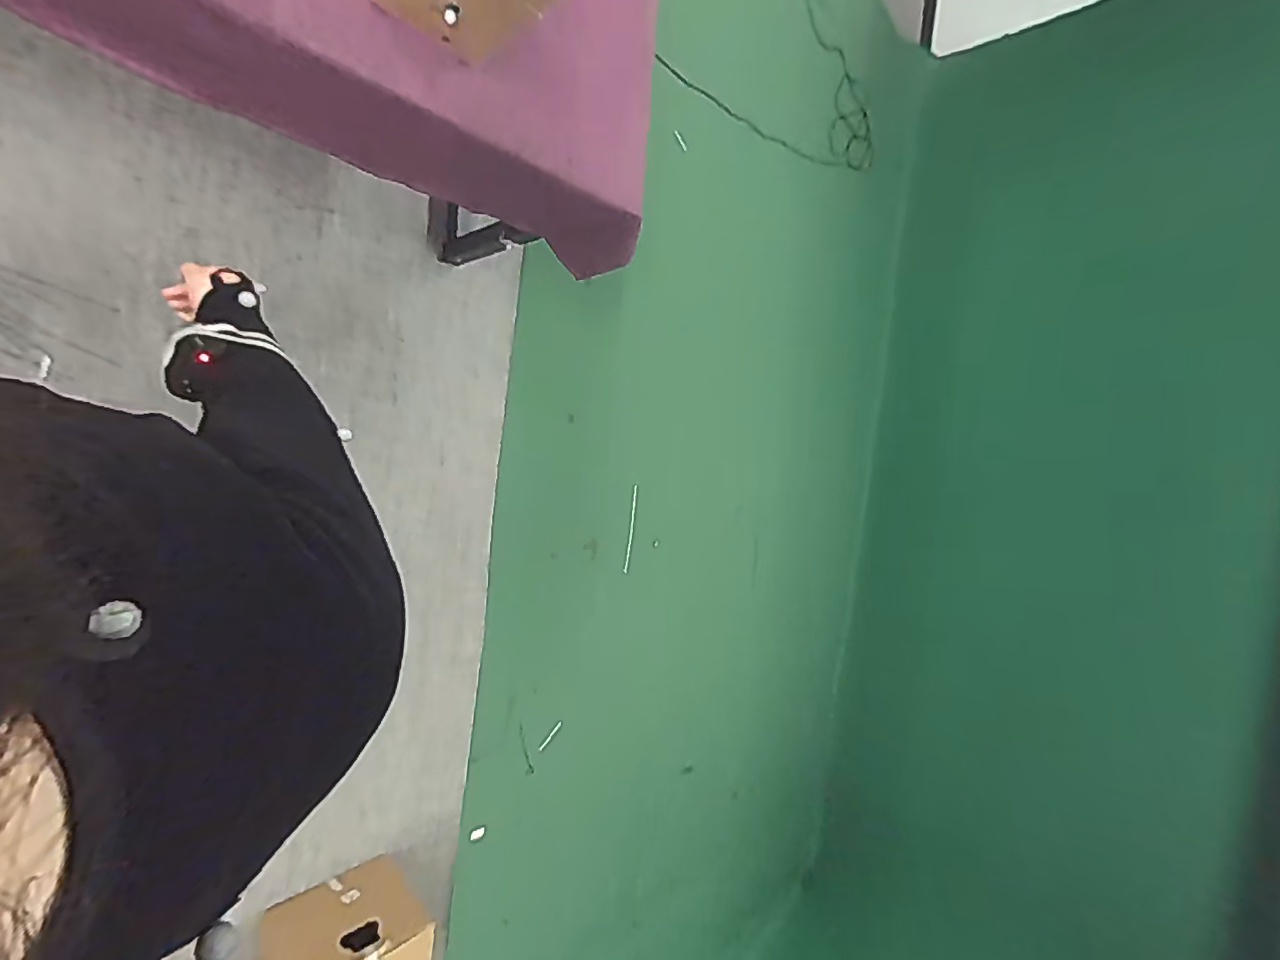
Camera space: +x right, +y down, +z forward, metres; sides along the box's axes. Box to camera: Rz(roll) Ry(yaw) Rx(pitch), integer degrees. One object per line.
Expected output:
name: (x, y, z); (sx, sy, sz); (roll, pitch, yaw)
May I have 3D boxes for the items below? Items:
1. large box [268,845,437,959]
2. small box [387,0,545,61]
large box: (-0.769, 1.306, 1.434); (0.320, 0.320, 0.408); (2, 97, -47)
small box: (-0.230, -0.693, 0.691); (0.168, 0.176, 0.179); (1, 96, -47)
